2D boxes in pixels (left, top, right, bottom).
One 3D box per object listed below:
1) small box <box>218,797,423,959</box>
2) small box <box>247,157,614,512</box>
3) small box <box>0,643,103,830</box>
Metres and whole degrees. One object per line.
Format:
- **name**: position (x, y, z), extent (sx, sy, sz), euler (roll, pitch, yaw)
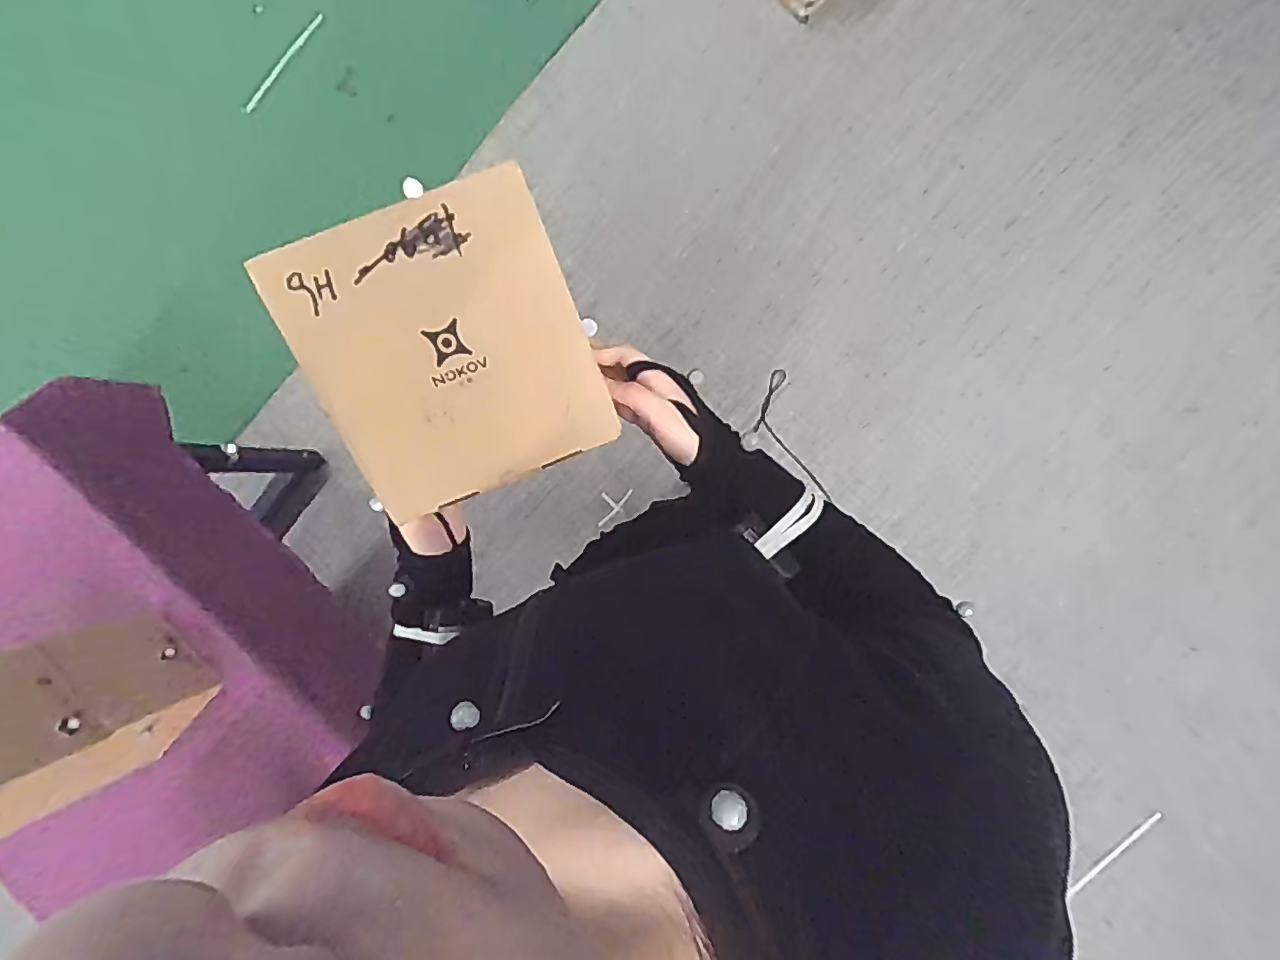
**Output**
- **small box**: position (-0.449, 0.585, 0.753), extent (0.179, 0.176, 0.168), euler (43, 96, 5)
- **small box**: position (-0.130, -0.106, 0.408), extent (0.168, 0.176, 0.179), euler (-22, 110, -2)
- **small box**: position (-0.799, 0.322, 0.631), extent (0.179, 0.176, 0.168), euler (-45, 85, 7)
